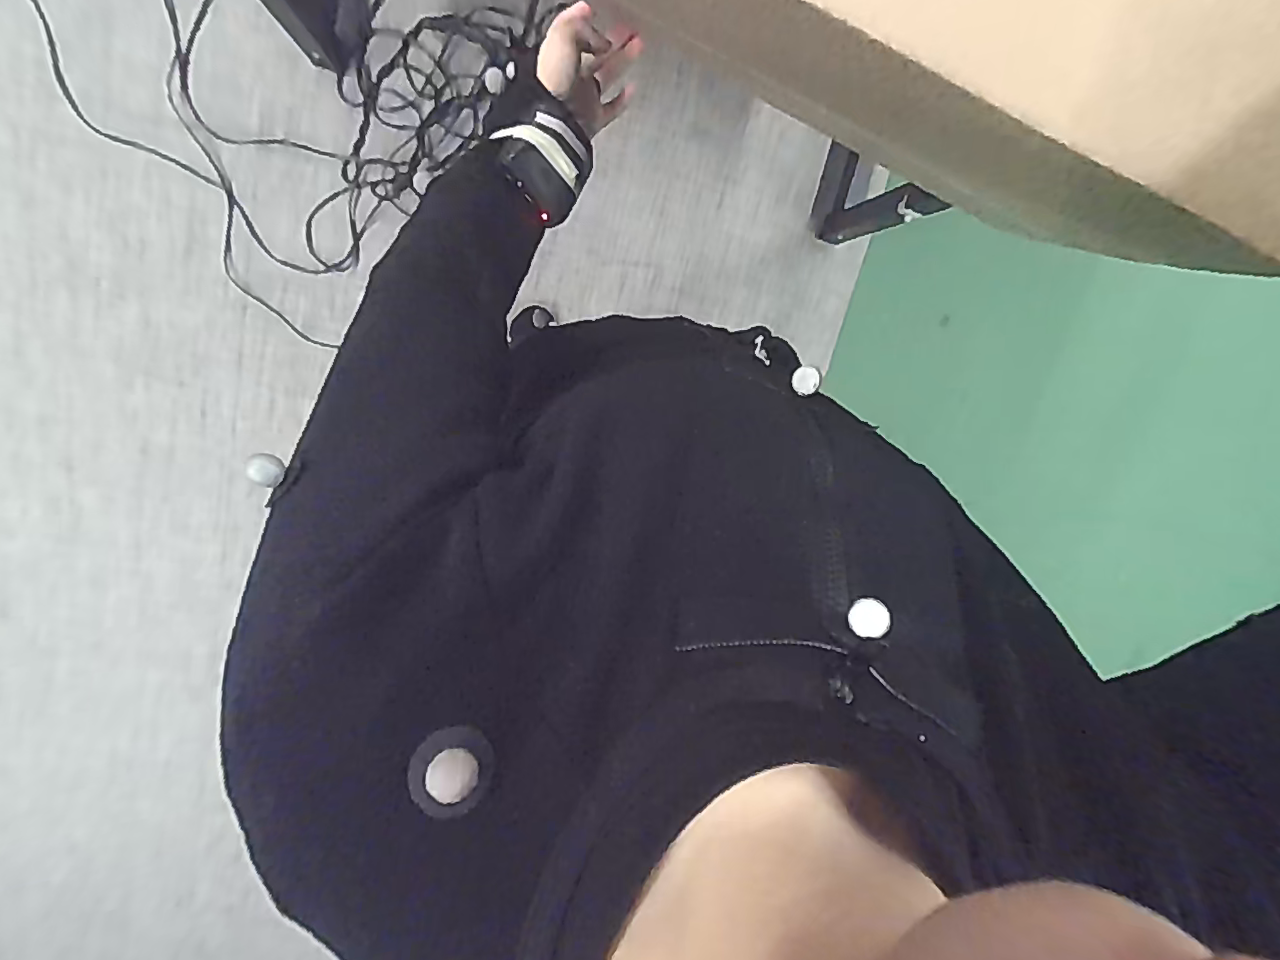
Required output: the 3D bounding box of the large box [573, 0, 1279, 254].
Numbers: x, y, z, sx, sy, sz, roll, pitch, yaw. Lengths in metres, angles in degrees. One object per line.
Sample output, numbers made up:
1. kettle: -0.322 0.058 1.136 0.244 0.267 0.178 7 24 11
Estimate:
1. large box: 0.170 -0.359 0.264 0.408 0.320 0.320 25 121 -2
